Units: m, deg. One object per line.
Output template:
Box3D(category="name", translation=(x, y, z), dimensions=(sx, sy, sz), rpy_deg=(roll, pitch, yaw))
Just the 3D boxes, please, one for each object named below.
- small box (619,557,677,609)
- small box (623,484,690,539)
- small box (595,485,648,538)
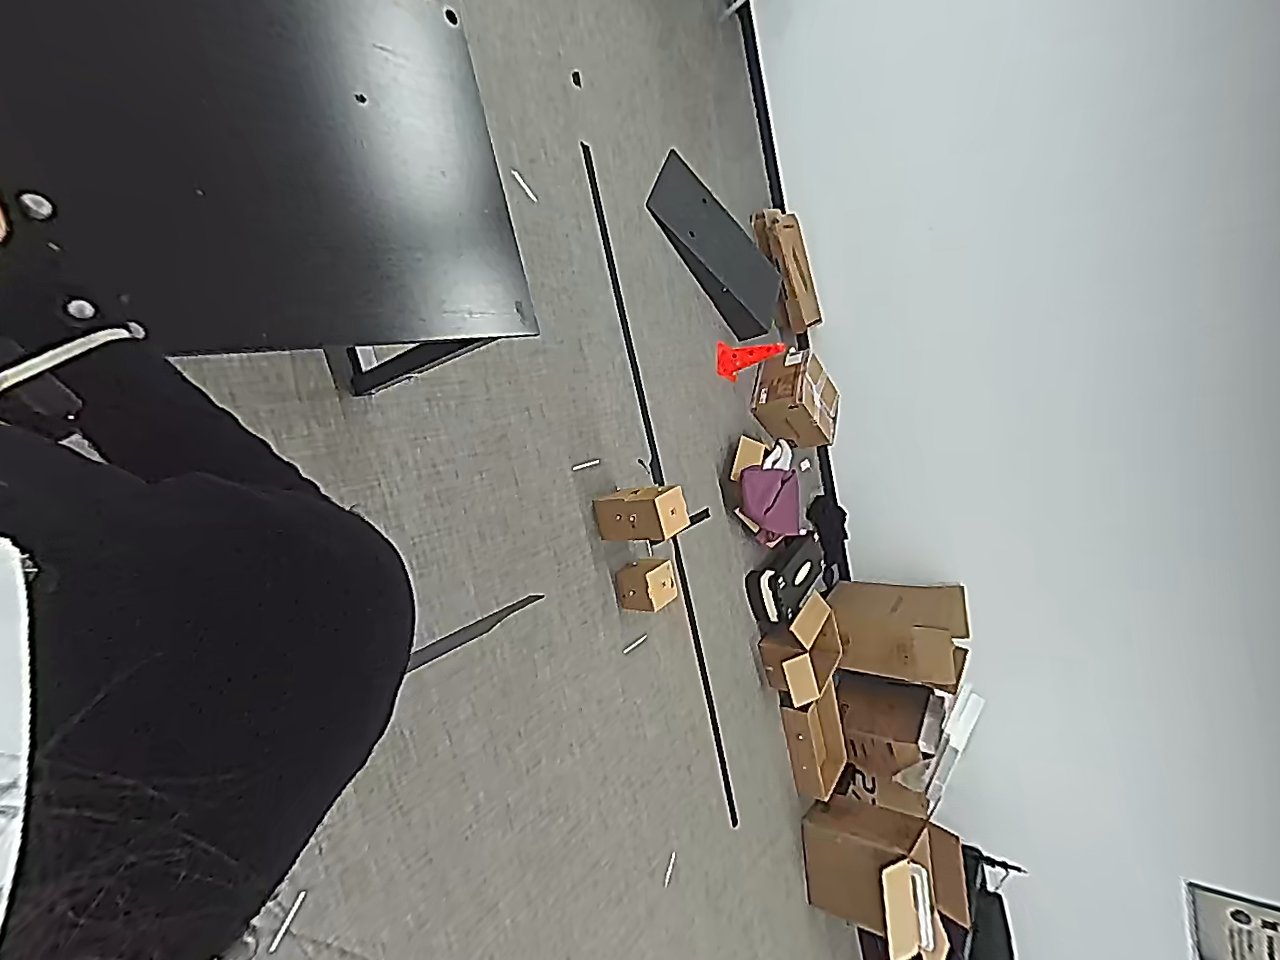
Box3D(category="small box", translation=(0.027, 0.430, 2.269), dimensions=(0.179, 0.176, 0.168), rpy_deg=(-21, 101, -48))
Box3D(category="small box", translation=(0.062, 0.120, 2.092), dimensions=(0.179, 0.176, 0.168), rpy_deg=(-26, 104, -47))
Box3D(category="small box", translation=(-0.061, 0.129, 2.199), dimensions=(0.168, 0.176, 0.179), rpy_deg=(-23, 104, -48))
